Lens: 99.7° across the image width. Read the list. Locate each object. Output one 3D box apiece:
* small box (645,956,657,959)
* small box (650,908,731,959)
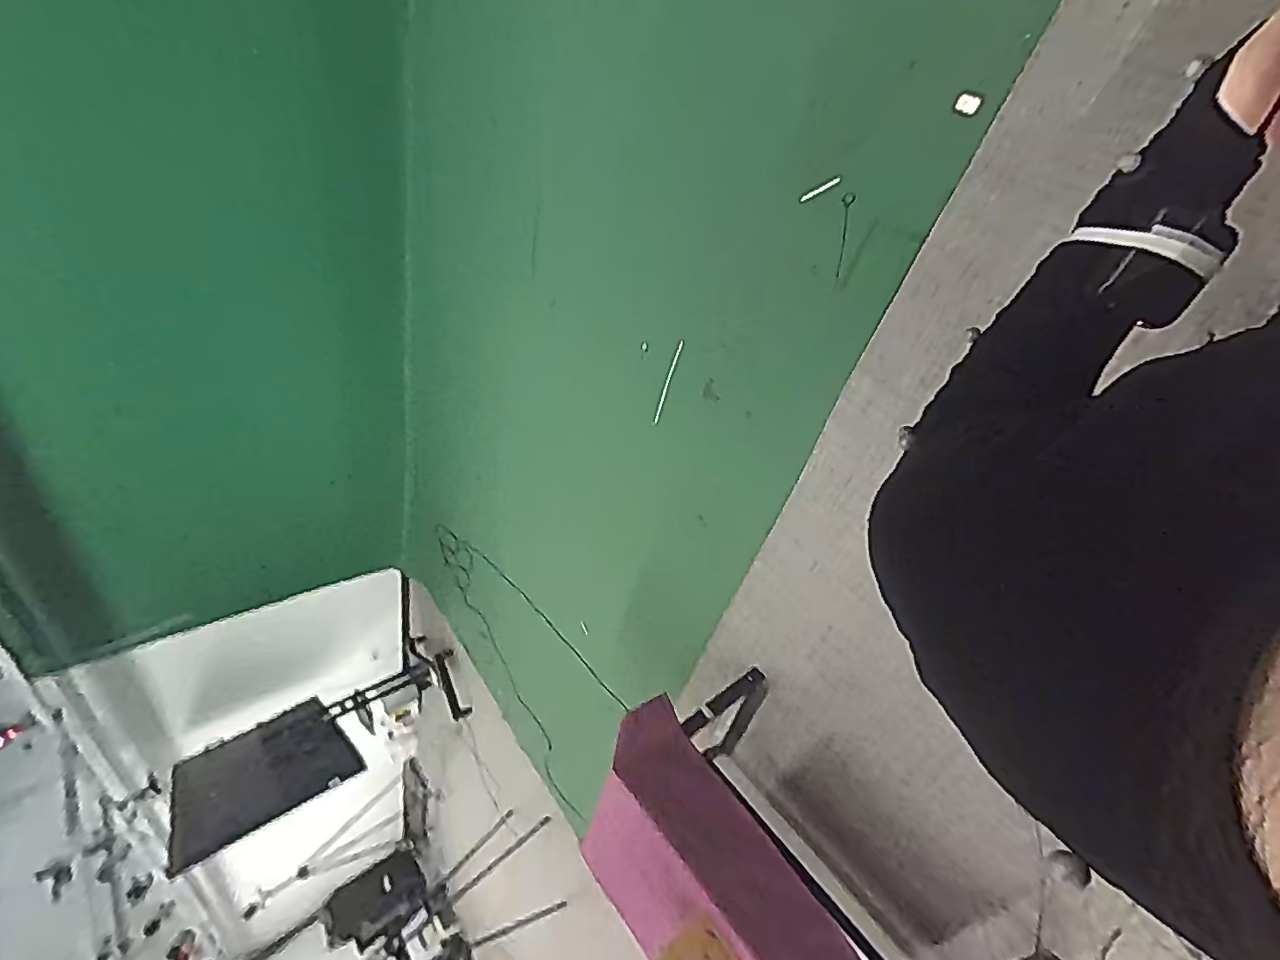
[{"bbox_3d":[0.004,1.319,1.317,0.168,0.176,0.179,45,133,31],"label":"small box"},{"bbox_3d":[0.127,1.280,1.417,0.168,0.176,0.179,43,132,33],"label":"small box"}]
